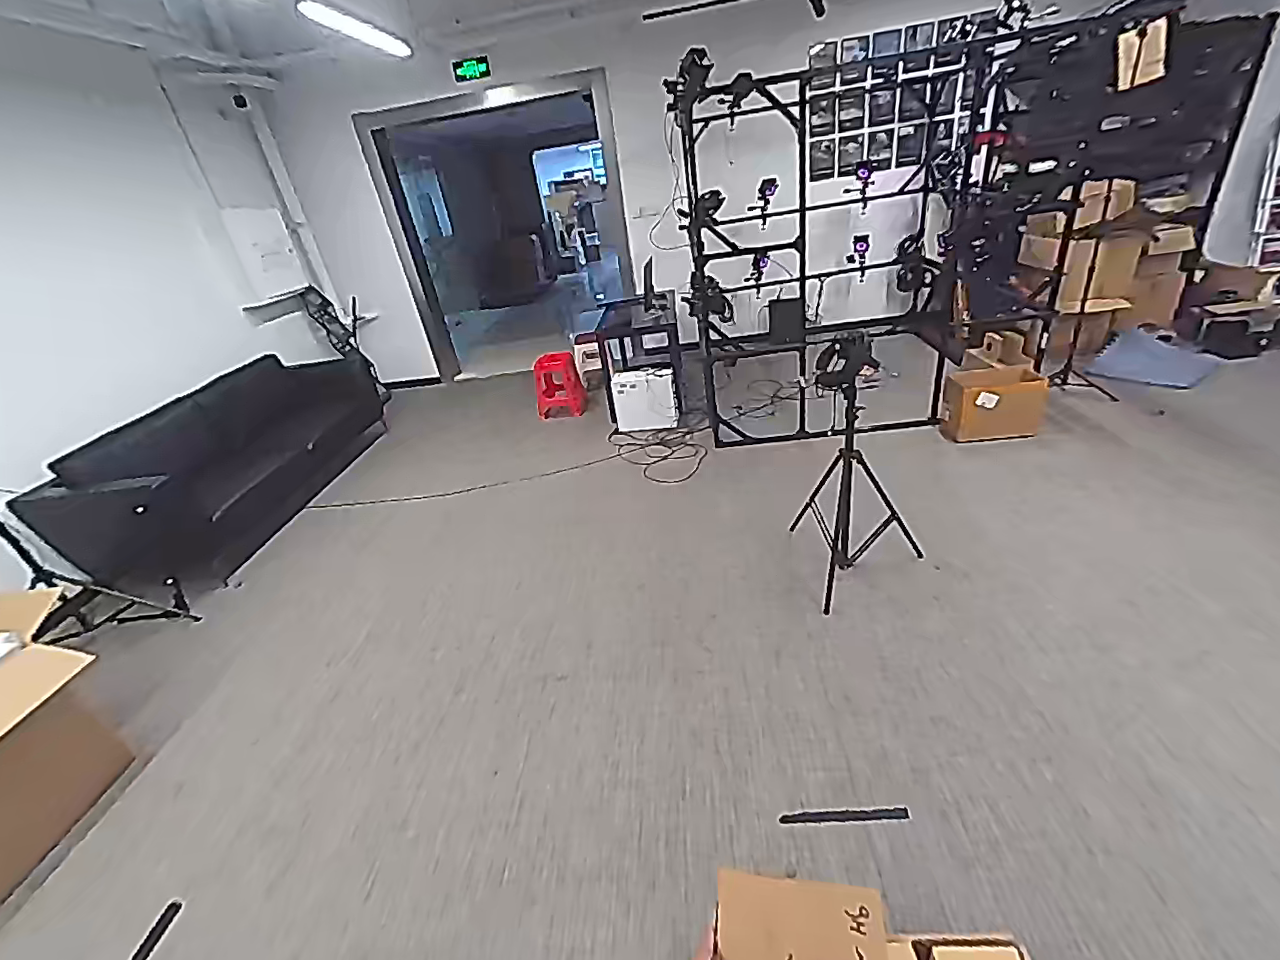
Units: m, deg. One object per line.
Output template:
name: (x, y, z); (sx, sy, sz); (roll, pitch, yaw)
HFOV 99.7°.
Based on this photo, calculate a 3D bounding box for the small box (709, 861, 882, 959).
small box: (0.171, 0.548, 0.611); (0.179, 0.176, 0.168); (0, 53, 12)

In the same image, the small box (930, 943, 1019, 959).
small box: (0.686, 1.067, 1.079); (0.168, 0.176, 0.179); (-7, 32, 8)
